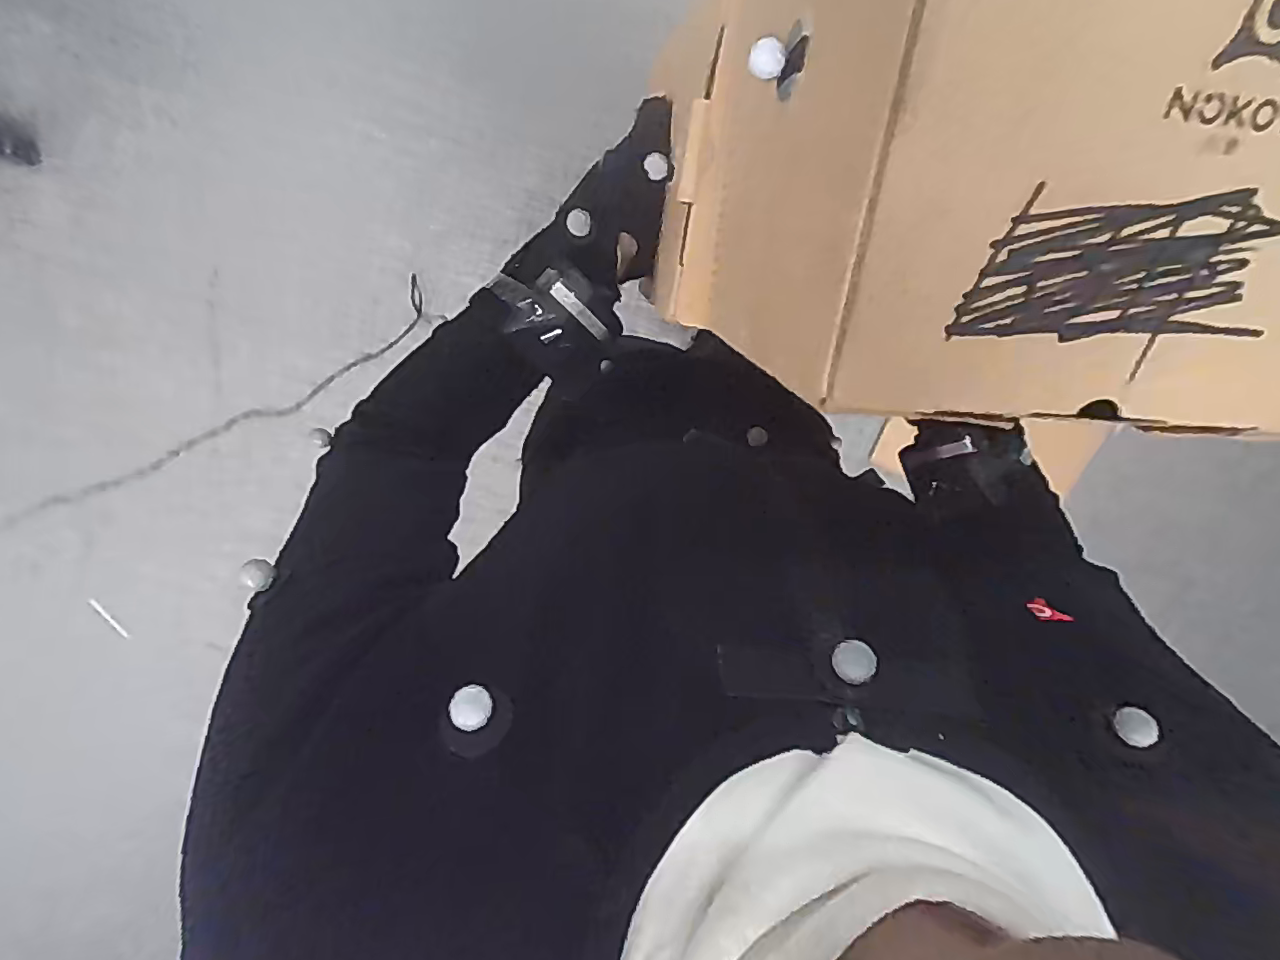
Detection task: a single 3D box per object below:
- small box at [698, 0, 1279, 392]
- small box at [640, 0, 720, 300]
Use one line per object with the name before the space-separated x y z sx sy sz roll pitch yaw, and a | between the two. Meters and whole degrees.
small box | 0.119 -0.140 0.193 0.168 0.176 0.179 1 113 -6
small box | 0.098 -0.198 0.348 0.179 0.176 0.168 3 111 -8
